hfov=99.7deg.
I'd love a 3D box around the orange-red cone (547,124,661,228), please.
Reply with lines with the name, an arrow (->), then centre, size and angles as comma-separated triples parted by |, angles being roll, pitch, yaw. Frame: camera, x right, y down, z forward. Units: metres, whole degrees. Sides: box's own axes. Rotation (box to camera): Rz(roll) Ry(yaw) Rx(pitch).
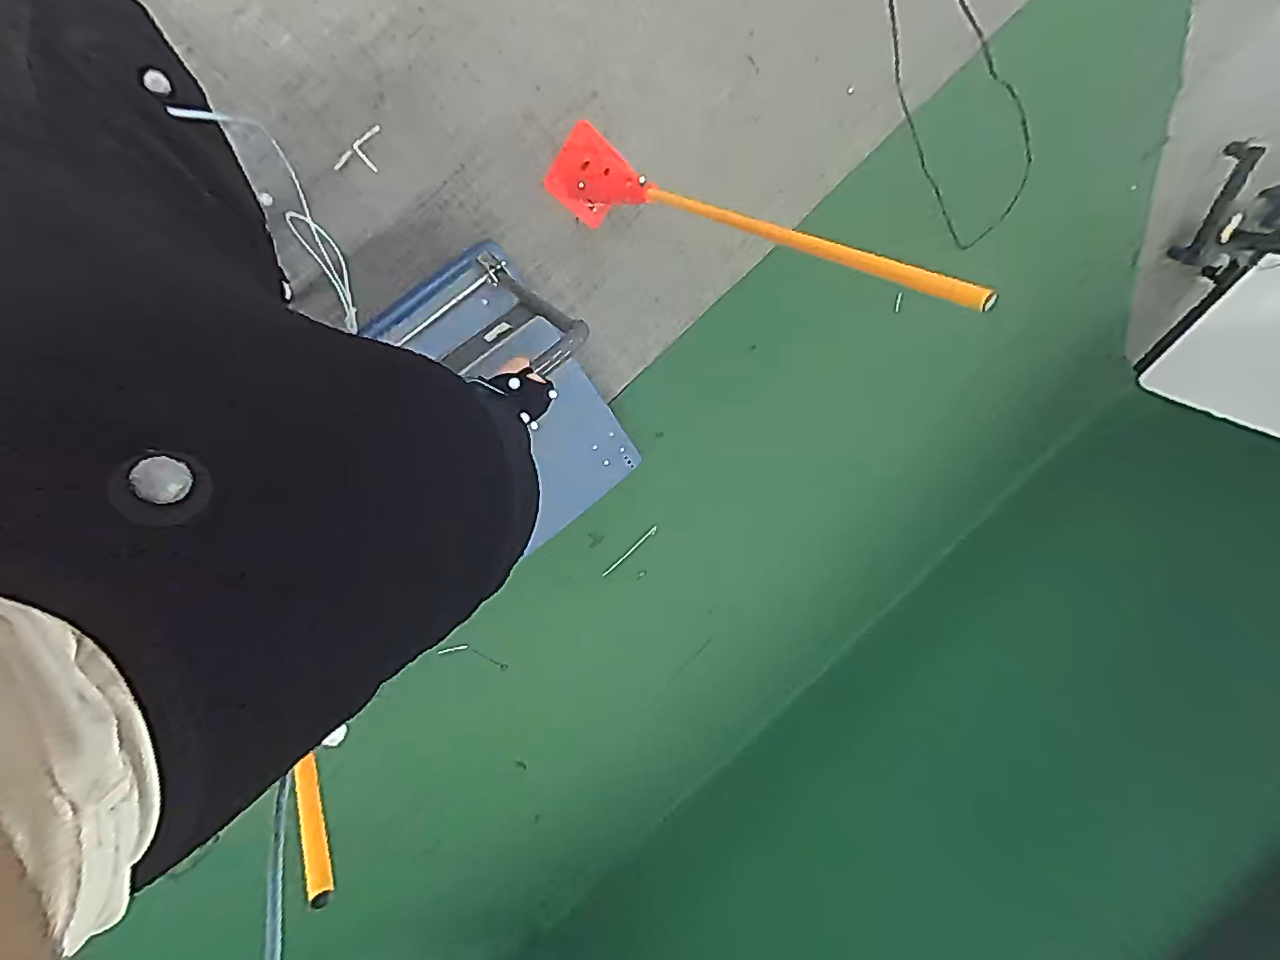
orange-red cone -> -0.054, -0.741, 1.356 | 0.198, 0.360, 0.199 | 26, 103, -43
